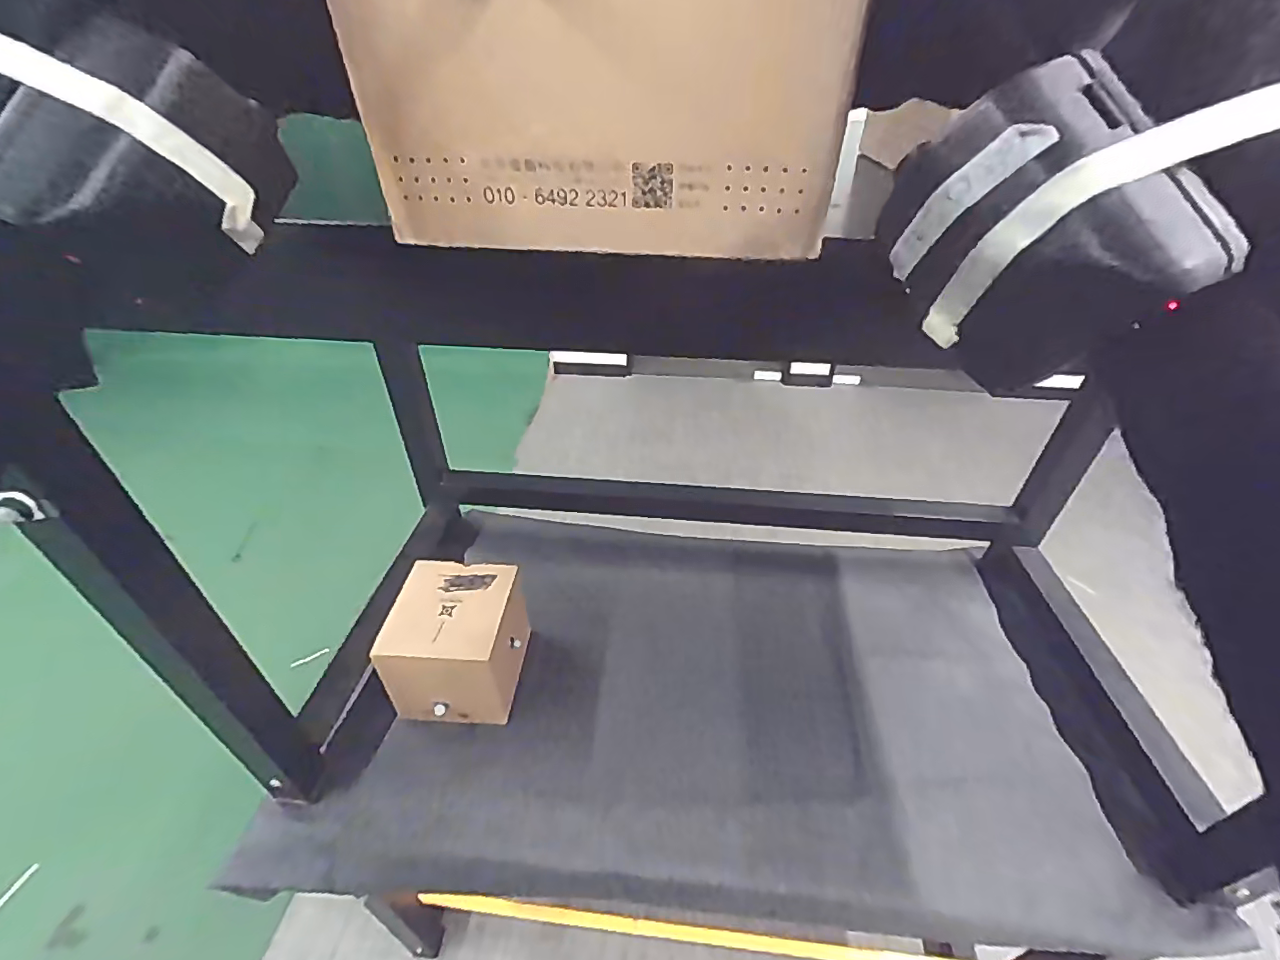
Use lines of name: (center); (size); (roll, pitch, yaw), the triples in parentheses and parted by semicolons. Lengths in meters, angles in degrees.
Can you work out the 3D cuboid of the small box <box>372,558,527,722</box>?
small box: (-0.277, 0.245, 0.837); (0.168, 0.176, 0.179); (2, 38, 3)
